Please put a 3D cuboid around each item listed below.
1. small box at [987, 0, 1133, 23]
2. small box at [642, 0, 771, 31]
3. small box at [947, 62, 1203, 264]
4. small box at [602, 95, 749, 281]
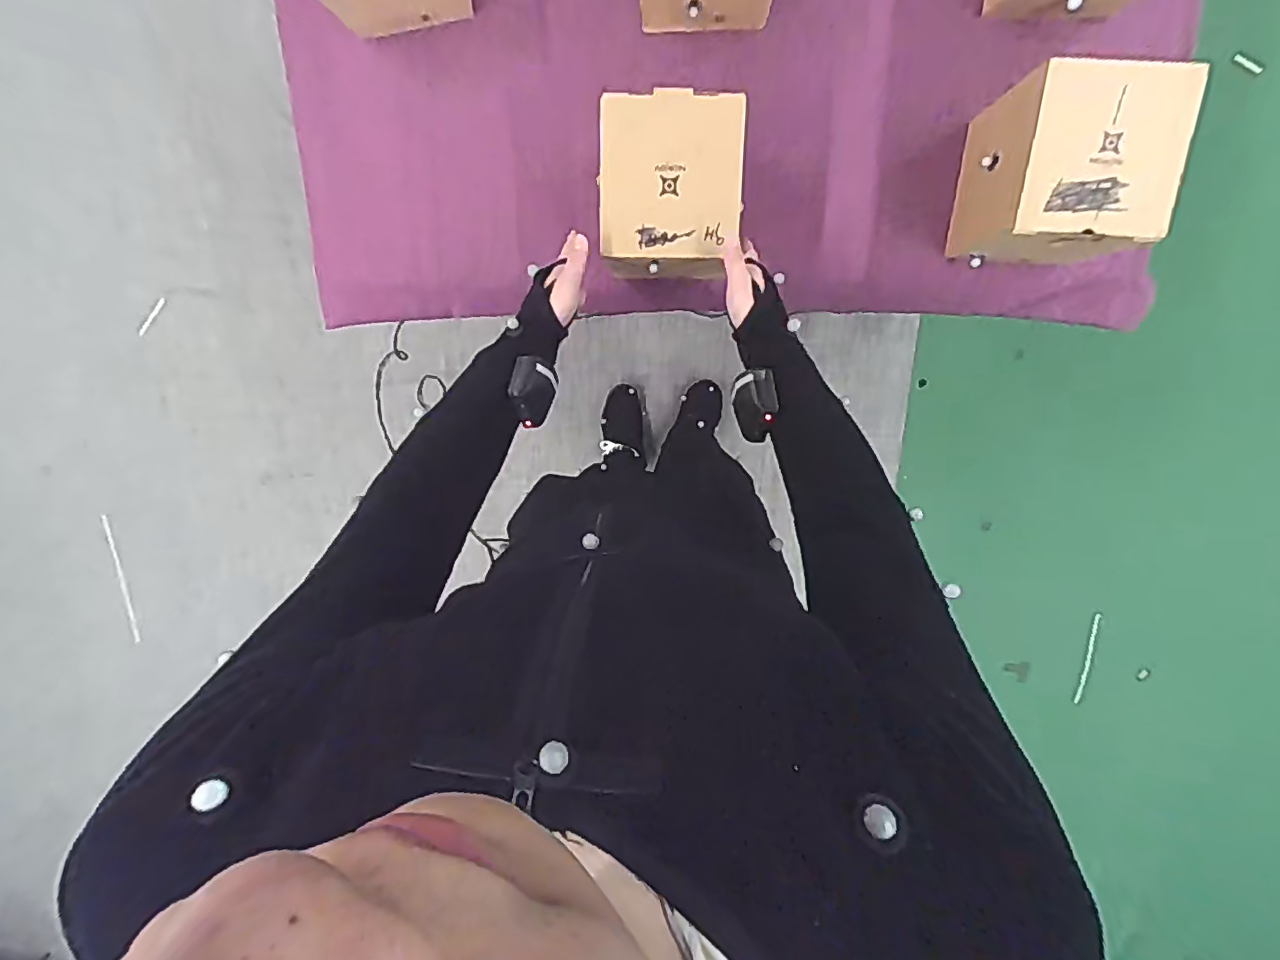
[{"bbox_3d":[0.520,-0.656,0.598,0.168,0.176,0.179,2,105,4],"label":"small box"},{"bbox_3d":[0.080,-0.665,0.623,0.168,0.176,0.179,0,106,3],"label":"small box"},{"bbox_3d":[0.513,-0.375,0.672,0.168,0.176,0.179,5,103,3],"label":"small box"},{"bbox_3d":[0.042,-0.364,0.702,0.168,0.176,0.179,2,104,3],"label":"small box"}]
